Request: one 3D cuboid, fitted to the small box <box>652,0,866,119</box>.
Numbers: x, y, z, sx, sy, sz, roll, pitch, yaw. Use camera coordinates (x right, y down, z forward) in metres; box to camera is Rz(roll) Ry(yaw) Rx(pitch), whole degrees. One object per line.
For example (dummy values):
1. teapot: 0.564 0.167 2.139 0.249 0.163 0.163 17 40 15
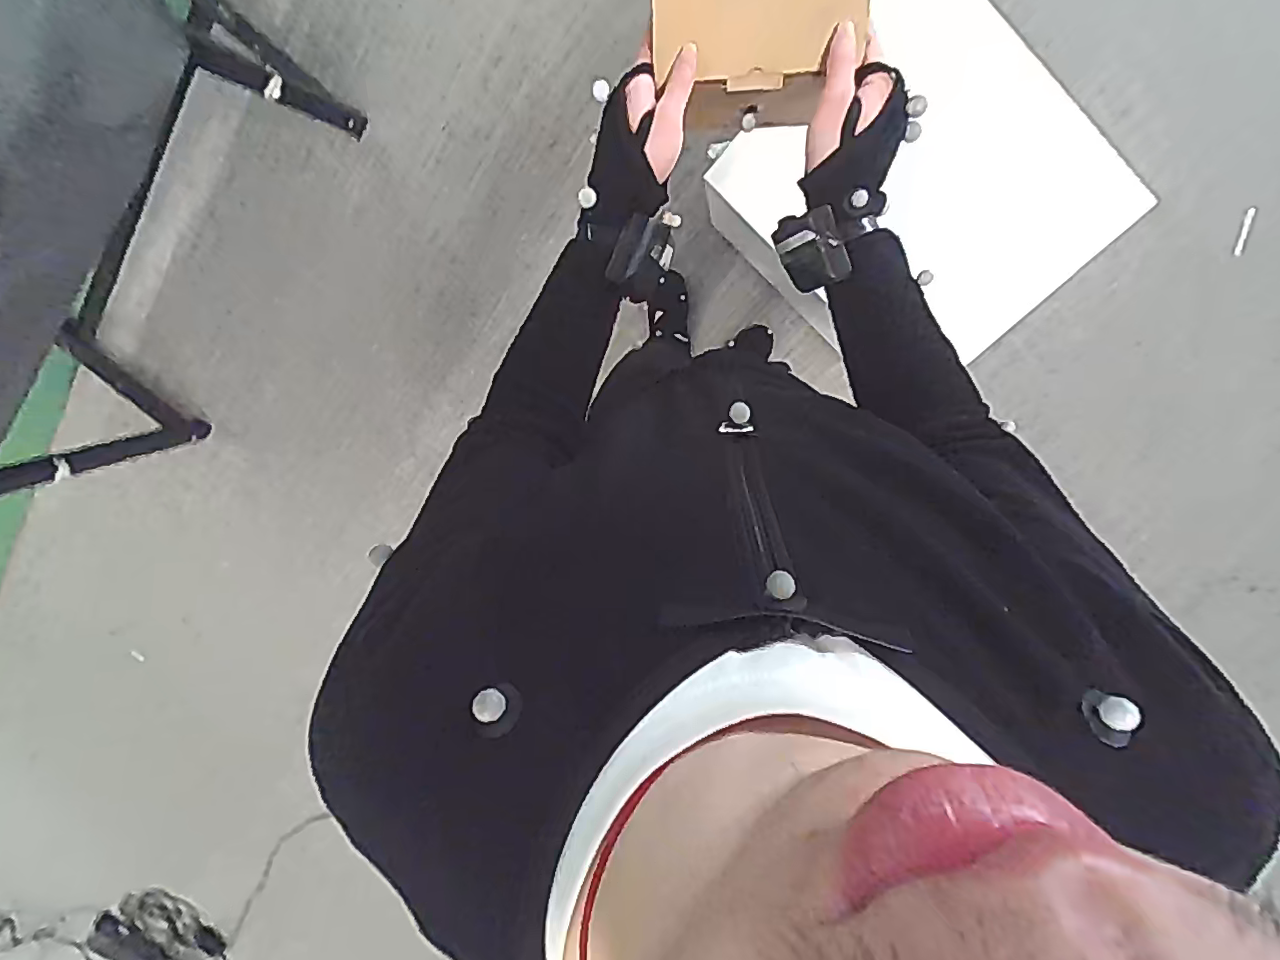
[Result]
1. small box: 0.100 -0.438 0.475 0.168 0.176 0.179 -1 112 9
